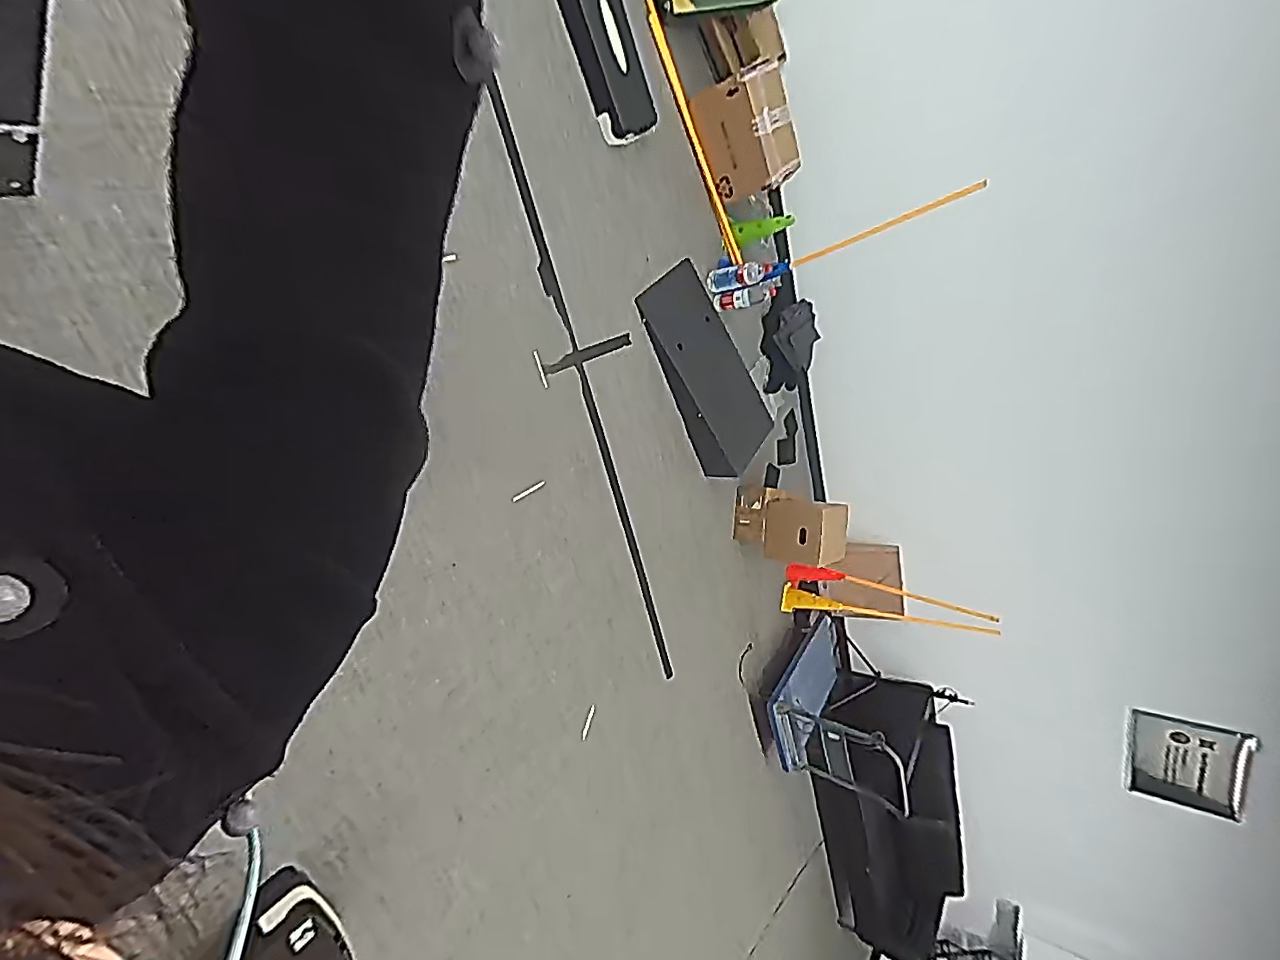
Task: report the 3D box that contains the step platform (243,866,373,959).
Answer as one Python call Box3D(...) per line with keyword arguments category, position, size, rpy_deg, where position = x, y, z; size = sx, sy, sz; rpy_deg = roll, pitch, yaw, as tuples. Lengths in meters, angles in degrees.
Box3D(category="step platform", position=(-0.954, 1.236, 1.165), size=(0.684, 0.204, 0.286), rpy_deg=(-28, 113, -47))
